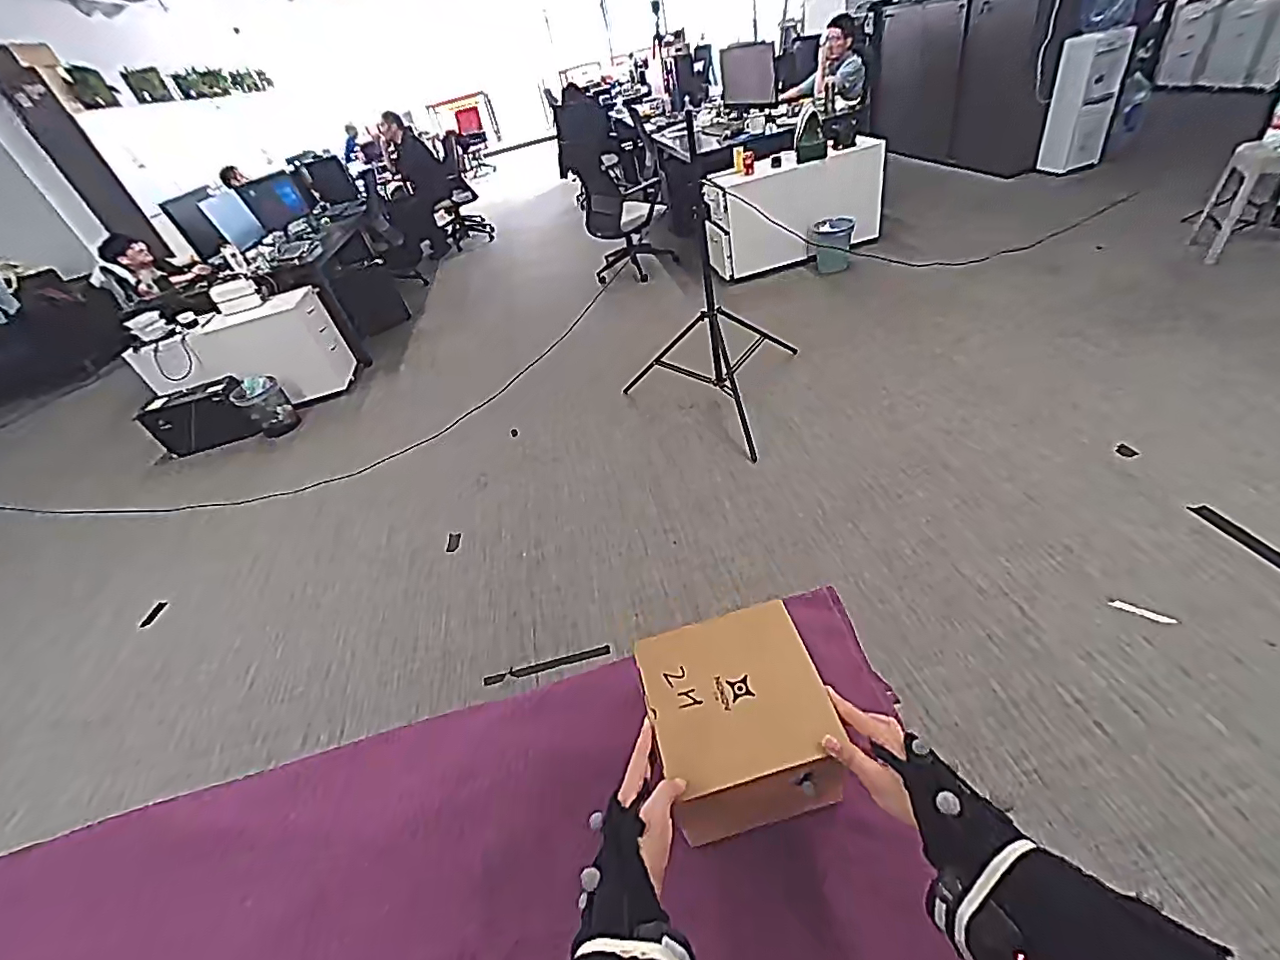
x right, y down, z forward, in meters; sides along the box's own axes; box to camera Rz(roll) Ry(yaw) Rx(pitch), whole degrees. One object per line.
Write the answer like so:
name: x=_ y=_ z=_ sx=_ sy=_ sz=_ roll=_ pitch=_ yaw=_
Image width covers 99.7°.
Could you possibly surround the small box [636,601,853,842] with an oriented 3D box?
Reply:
small box: x=0.107 y=0.265 z=0.593 sx=0.179 sy=0.176 sz=0.168 roll=-17 pitch=43 yaw=-1
